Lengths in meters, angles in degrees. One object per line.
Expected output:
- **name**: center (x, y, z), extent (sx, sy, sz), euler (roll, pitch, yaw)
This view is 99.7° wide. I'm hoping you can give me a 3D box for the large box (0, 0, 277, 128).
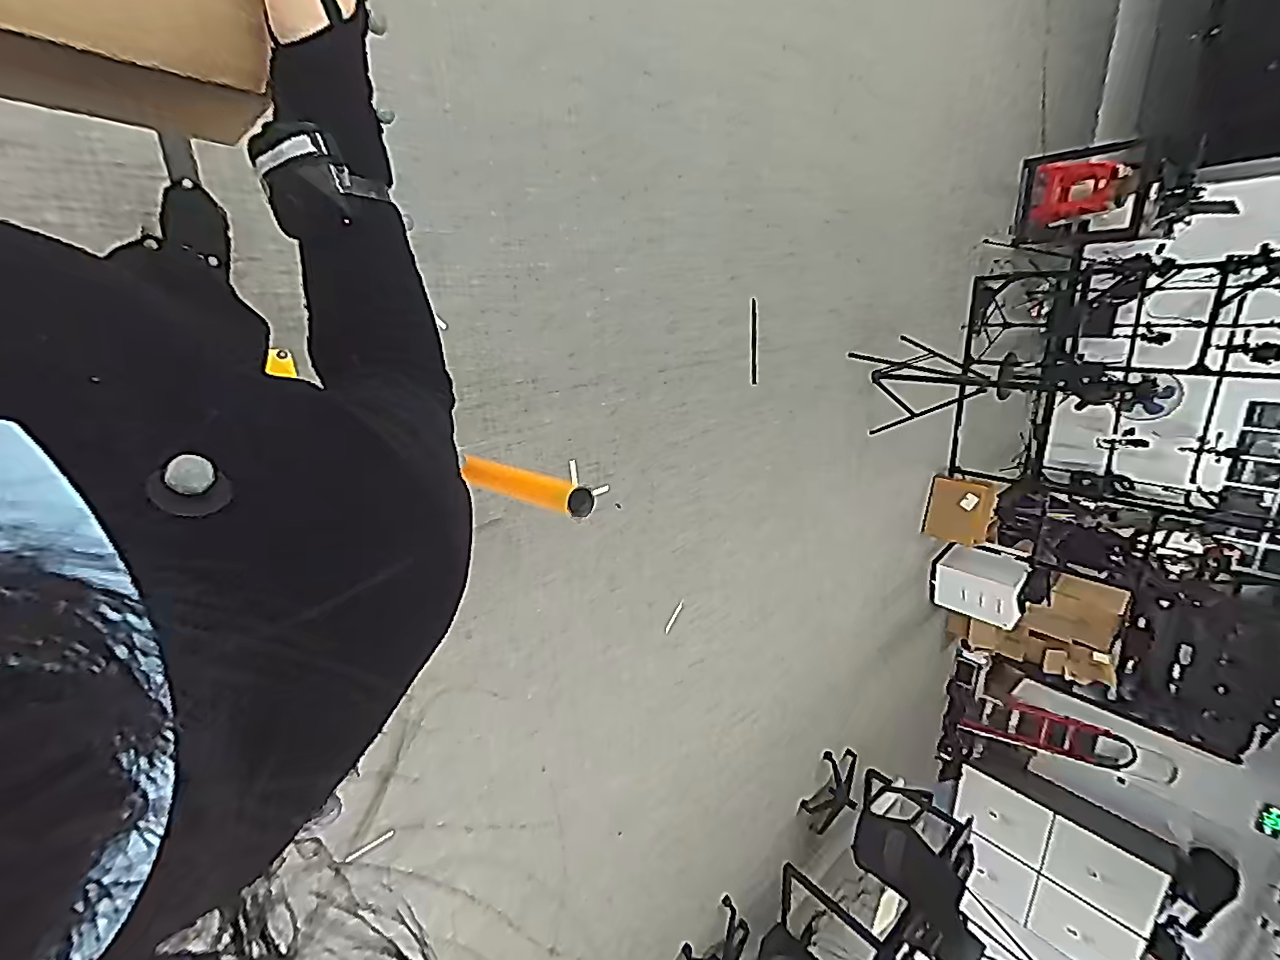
- **large box**: center (-0.497, -0.457, 0.335), extent (0.408, 0.320, 0.320), euler (-9, 114, -38)
